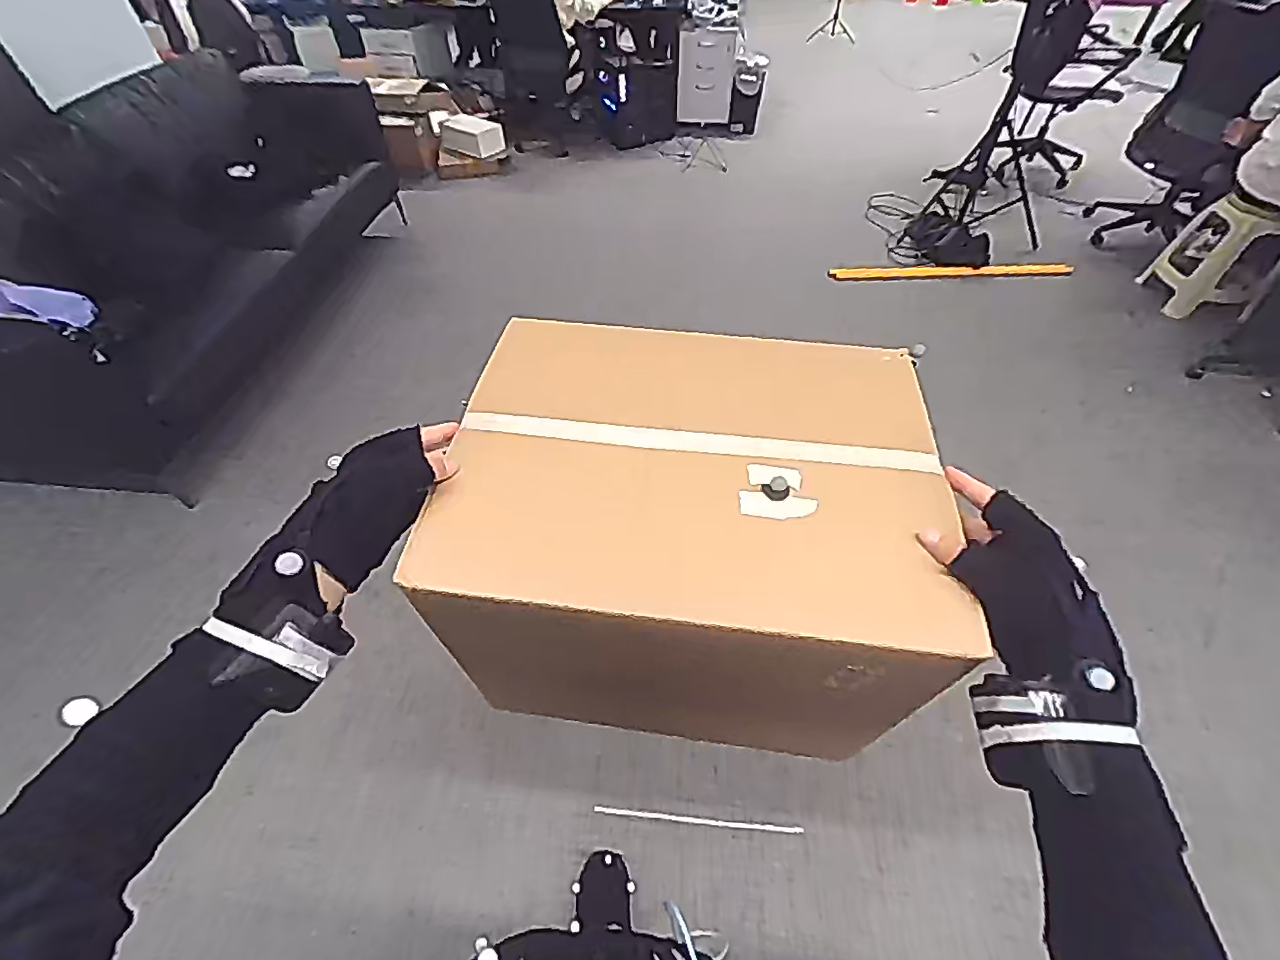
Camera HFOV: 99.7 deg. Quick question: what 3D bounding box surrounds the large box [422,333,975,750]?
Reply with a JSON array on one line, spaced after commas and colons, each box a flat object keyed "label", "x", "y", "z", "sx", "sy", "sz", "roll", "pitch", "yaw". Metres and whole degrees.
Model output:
[{"label": "large box", "x": 0.048, "y": 0.072, "z": 0.589, "sx": 0.408, "sy": 0.320, "sz": 0.320, "roll": 7, "pitch": 52, "yaw": 4}]
